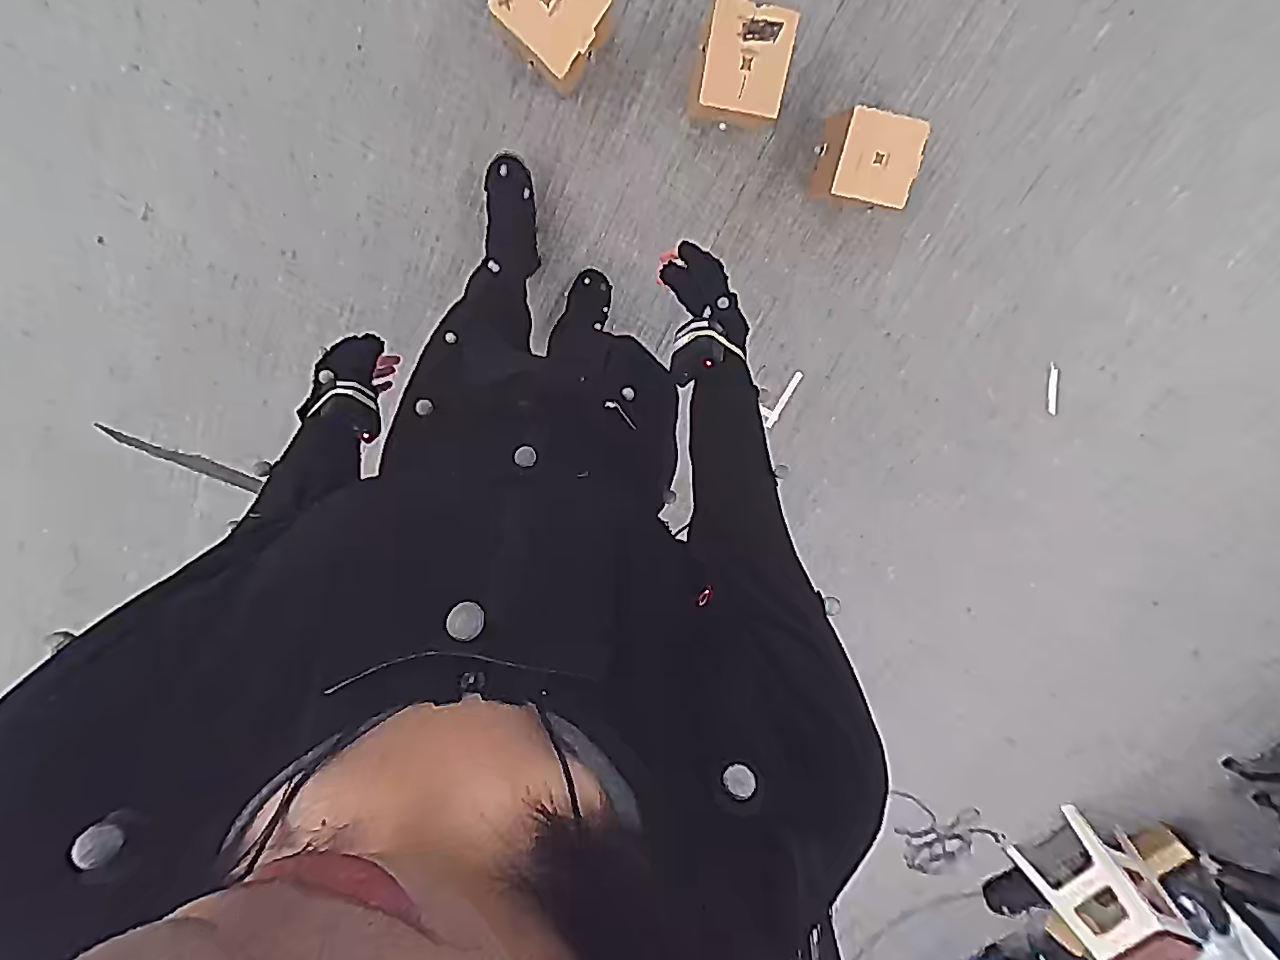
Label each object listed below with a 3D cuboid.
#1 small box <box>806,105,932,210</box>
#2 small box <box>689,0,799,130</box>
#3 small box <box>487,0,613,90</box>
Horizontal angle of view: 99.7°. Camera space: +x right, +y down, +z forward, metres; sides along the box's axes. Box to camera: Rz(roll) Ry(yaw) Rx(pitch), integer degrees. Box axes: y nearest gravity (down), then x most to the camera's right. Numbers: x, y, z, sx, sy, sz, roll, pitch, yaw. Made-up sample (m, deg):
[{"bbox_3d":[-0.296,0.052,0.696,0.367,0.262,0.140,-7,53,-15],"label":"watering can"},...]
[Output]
[{"bbox_3d":[0.499,-0.708,1.206,0.179,0.176,0.168,8,114,-7],"label":"small box"},{"bbox_3d":[0.203,-0.850,1.116,0.168,0.176,0.179,7,115,-7],"label":"small box"},{"bbox_3d":[-0.169,-0.911,1.064,0.179,0.176,0.168,37,107,-19],"label":"small box"}]
